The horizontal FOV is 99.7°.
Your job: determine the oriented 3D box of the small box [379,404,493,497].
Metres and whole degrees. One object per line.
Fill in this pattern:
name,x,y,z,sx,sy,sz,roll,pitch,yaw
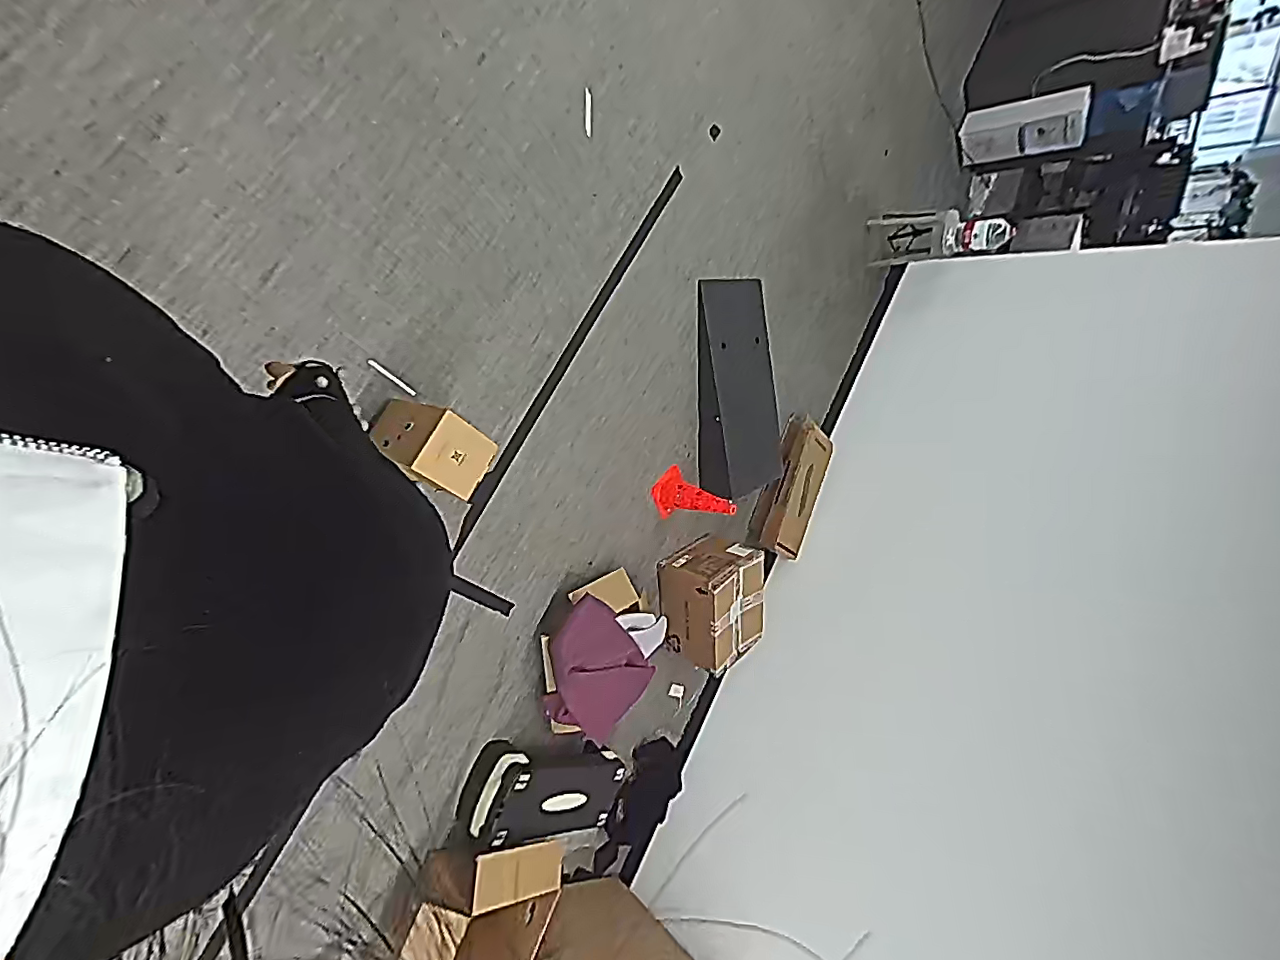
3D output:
small box,-0.515,-0.080,1.365,0.179,0.176,0.168,41,69,-45

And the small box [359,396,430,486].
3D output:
small box,-0.632,-0.109,1.474,0.168,0.176,0.179,41,71,-47
